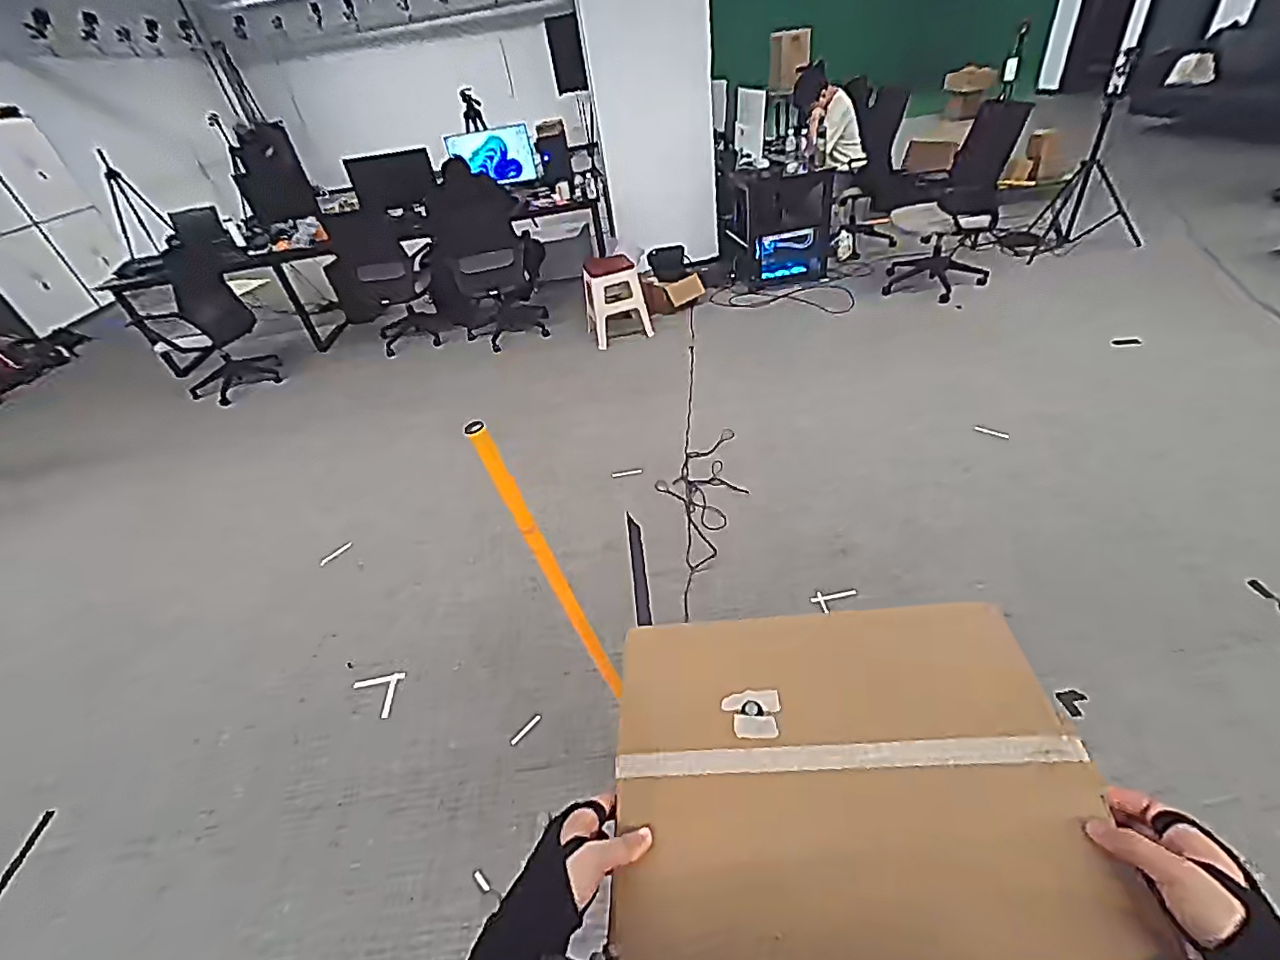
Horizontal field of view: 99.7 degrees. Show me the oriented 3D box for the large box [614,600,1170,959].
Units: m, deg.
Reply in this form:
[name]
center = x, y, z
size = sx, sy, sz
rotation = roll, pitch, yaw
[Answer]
[large box]
center = 0.210, 0.369, 0.605
size = 0.408, 0.320, 0.320
rotation = -8, 40, 10
